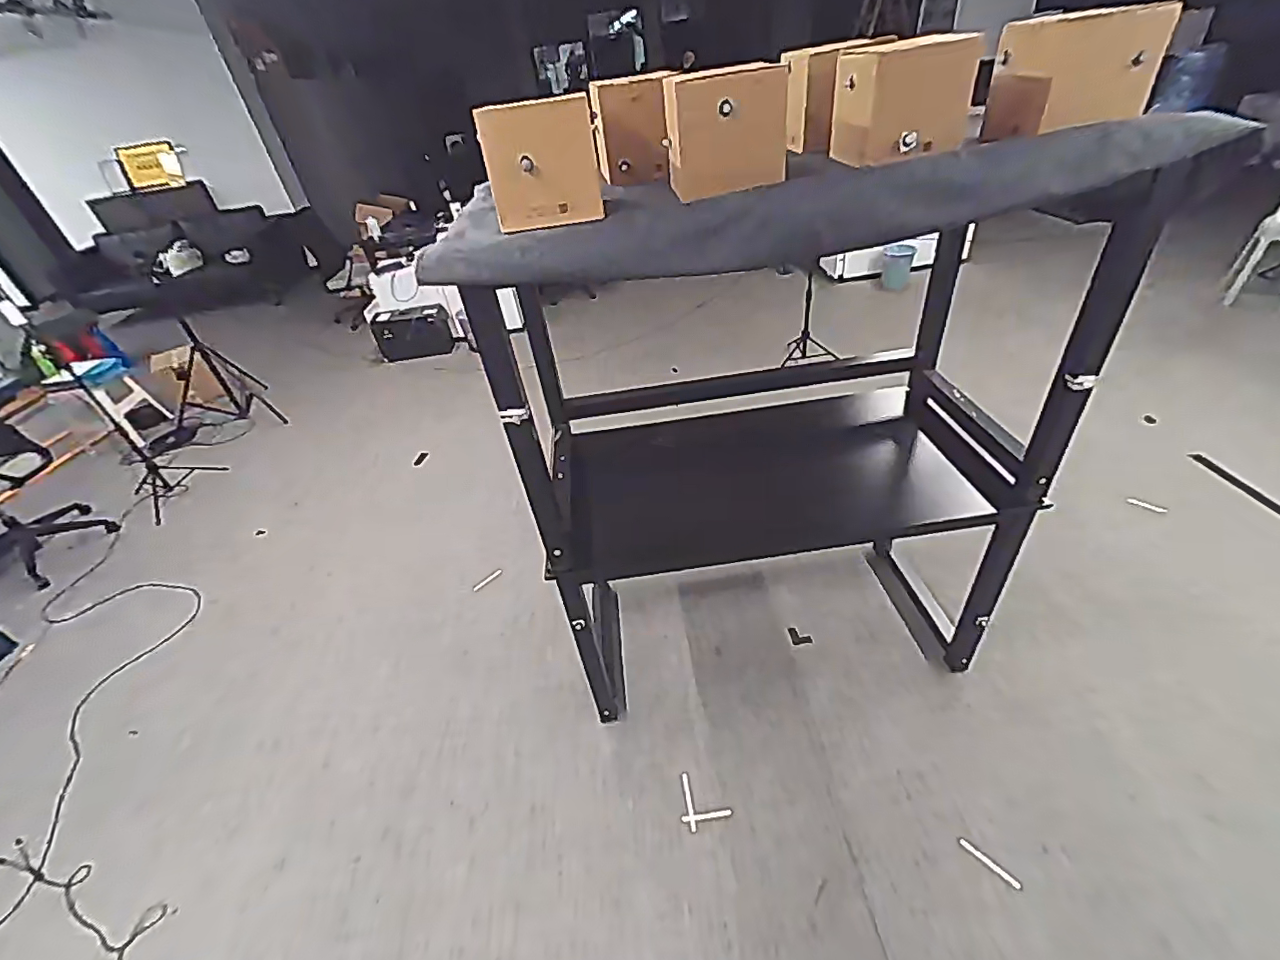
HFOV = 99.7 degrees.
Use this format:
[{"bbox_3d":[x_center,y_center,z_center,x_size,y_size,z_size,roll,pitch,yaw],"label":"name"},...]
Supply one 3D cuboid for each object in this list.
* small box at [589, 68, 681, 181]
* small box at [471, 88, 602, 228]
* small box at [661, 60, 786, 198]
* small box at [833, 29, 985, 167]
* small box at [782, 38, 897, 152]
[{"bbox_3d":[-0.004,-0.723,1.105,0.168,0.176,0.179,-11,38,-3],"label":"small box"},{"bbox_3d":[-0.156,-0.518,0.877,0.168,0.176,0.179,-8,36,0],"label":"small box"},{"bbox_3d":[0.137,-0.585,0.905,0.179,0.176,0.168,-8,38,1],"label":"small box"},{"bbox_3d":[0.444,-0.649,0.927,0.168,0.176,0.179,-9,38,2],"label":"small box"},{"bbox_3d":[0.397,-0.793,1.115,0.179,0.176,0.168,-8,37,-1],"label":"small box"}]
